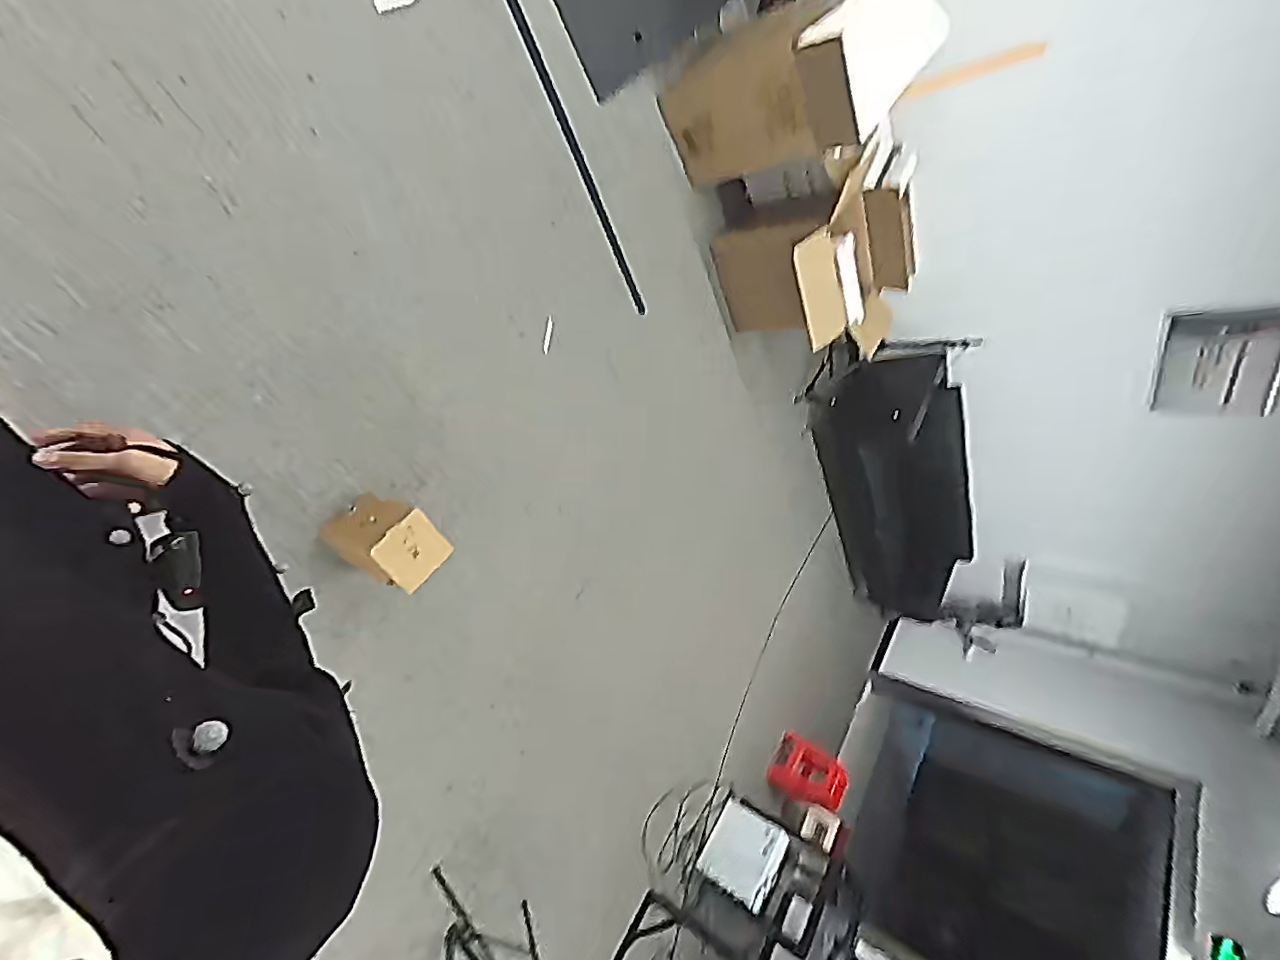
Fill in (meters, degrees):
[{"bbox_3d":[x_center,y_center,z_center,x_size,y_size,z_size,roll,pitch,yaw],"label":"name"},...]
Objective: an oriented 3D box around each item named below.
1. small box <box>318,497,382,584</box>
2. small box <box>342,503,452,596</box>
[{"bbox_3d":[-0.781,0.168,1.561,0.168,0.176,0.179,-51,132,-32],"label":"small box"},{"bbox_3d":[-0.654,0.179,1.457,0.168,0.176,0.179,-51,131,-32],"label":"small box"}]
